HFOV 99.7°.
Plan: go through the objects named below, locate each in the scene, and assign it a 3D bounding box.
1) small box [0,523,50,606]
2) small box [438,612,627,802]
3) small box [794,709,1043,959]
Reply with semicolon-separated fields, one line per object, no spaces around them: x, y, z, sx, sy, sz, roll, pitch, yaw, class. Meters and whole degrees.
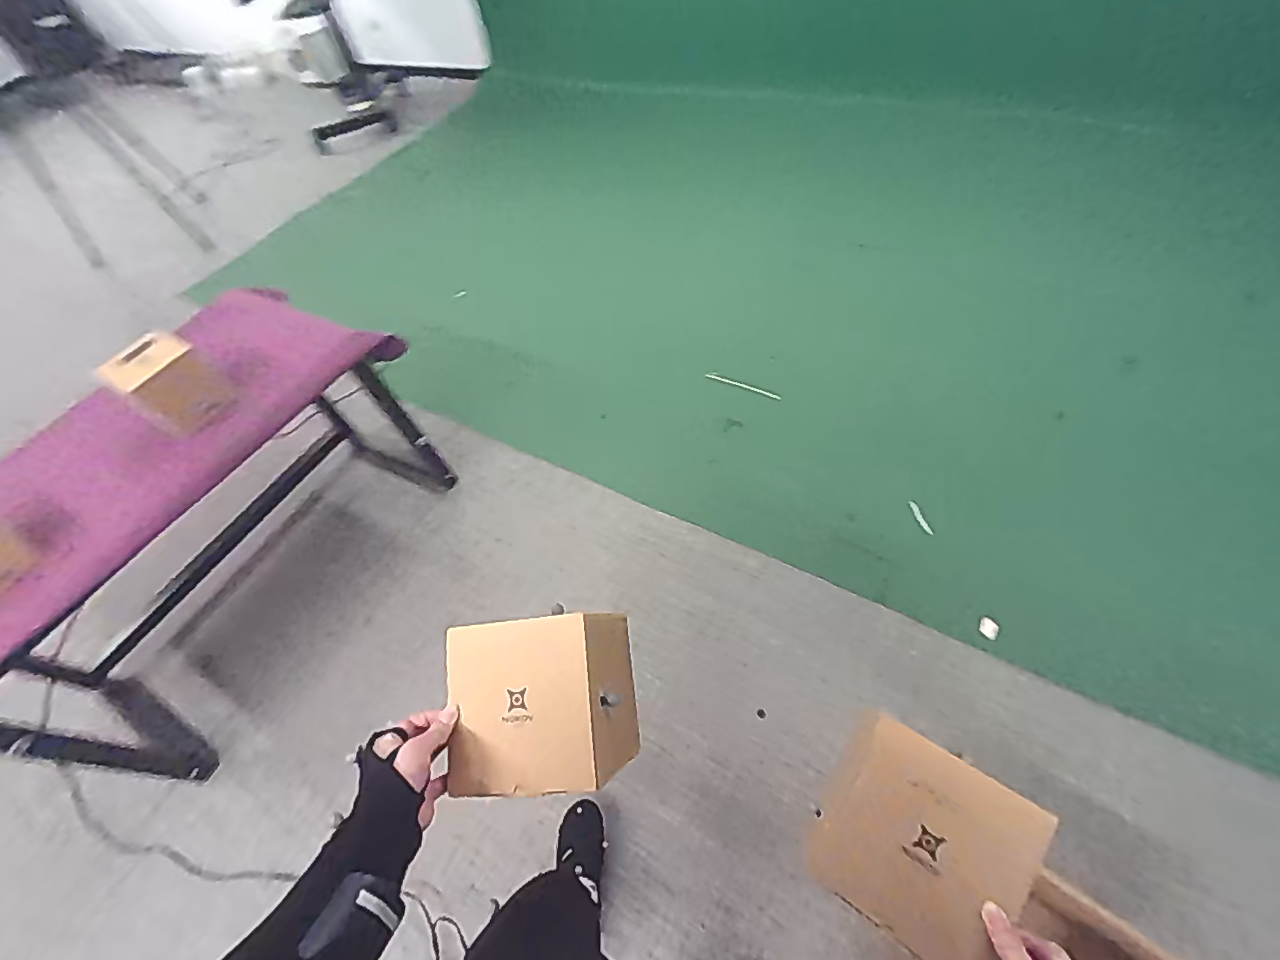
-1.432;0.168;1.139;0.179;0.176;0.168;21;61;24;small box
-0.121;0.259;0.646;0.168;0.176;0.179;-11;74;11;small box
0.283;0.372;0.584;0.168;0.176;0.179;27;79;24;small box
